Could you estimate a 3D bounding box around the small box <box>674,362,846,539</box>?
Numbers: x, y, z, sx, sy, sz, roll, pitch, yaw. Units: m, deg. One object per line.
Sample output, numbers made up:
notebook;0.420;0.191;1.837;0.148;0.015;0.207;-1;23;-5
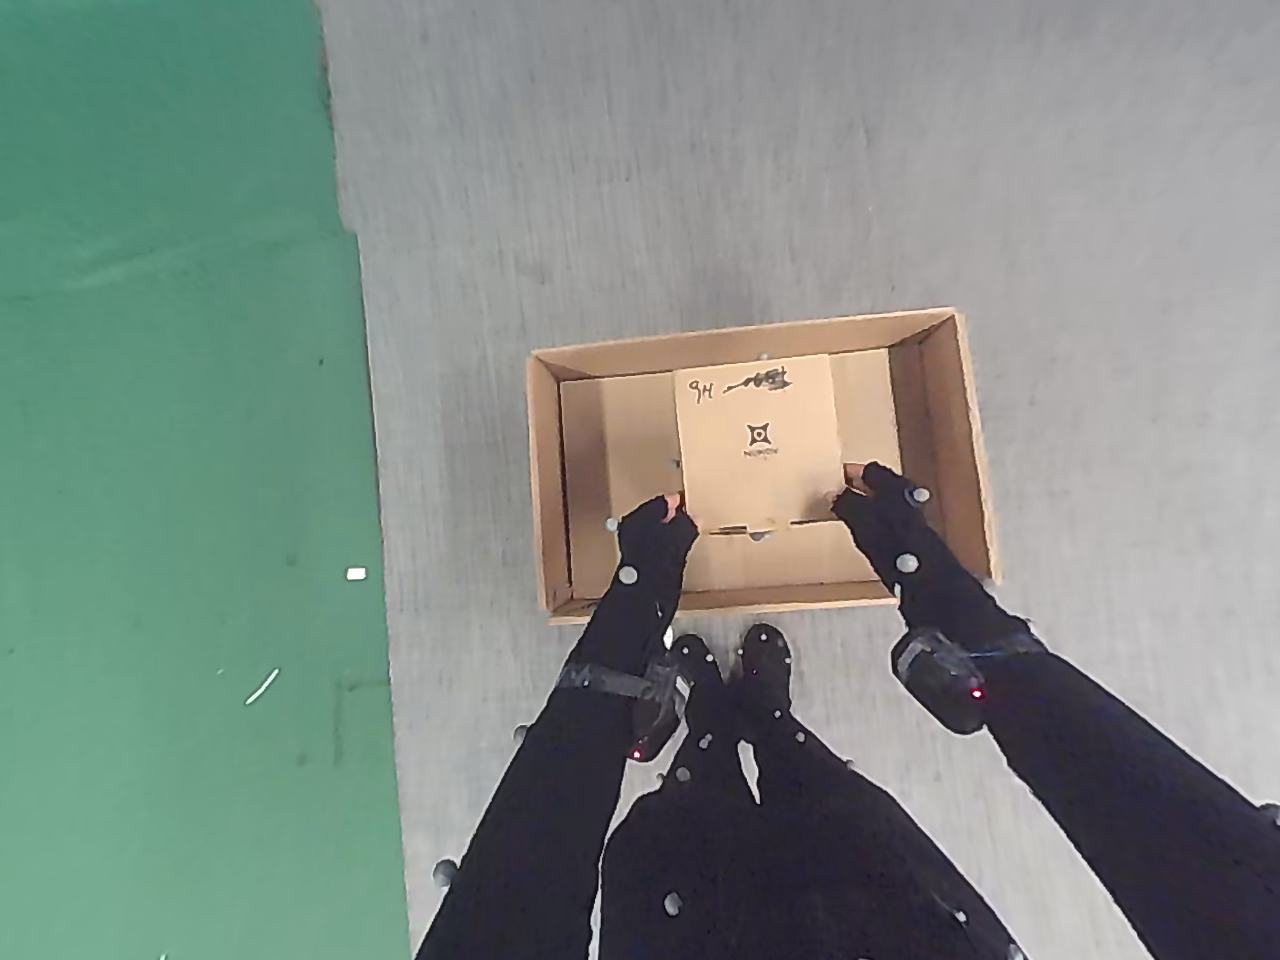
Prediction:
small box;0.132;-0.027;0.646;0.168;0.176;0.179;-6;85;4
